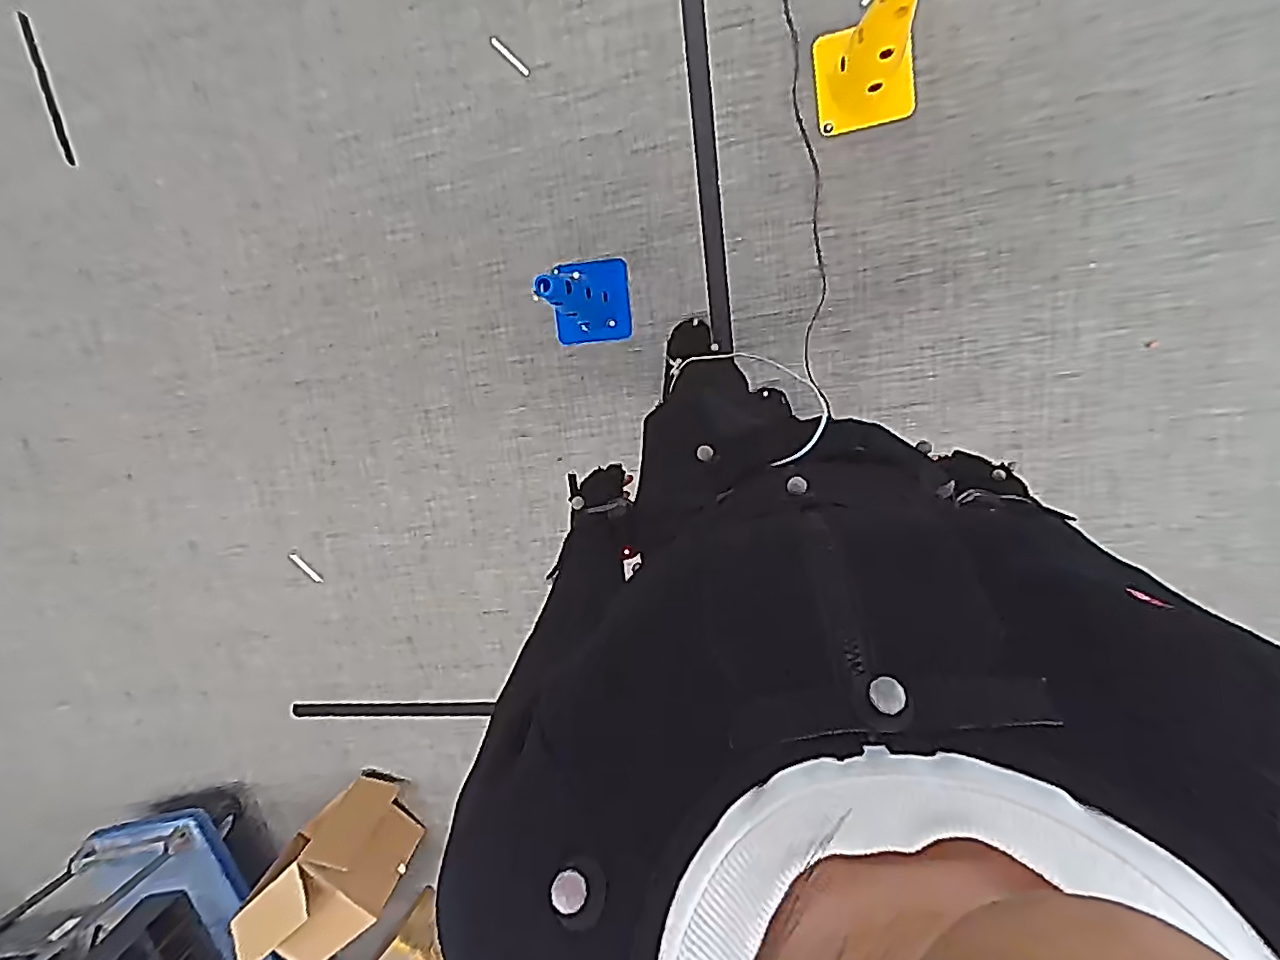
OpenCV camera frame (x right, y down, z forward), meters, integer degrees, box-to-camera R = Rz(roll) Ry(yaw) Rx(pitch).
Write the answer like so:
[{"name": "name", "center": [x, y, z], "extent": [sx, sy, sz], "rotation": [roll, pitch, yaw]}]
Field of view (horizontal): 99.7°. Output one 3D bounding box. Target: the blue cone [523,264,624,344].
[{"name": "blue cone", "center": [-0.169, -0.421, 1.244], "extent": [0.192, 0.380, 0.193], "rotation": [-1, 102, 12]}]
